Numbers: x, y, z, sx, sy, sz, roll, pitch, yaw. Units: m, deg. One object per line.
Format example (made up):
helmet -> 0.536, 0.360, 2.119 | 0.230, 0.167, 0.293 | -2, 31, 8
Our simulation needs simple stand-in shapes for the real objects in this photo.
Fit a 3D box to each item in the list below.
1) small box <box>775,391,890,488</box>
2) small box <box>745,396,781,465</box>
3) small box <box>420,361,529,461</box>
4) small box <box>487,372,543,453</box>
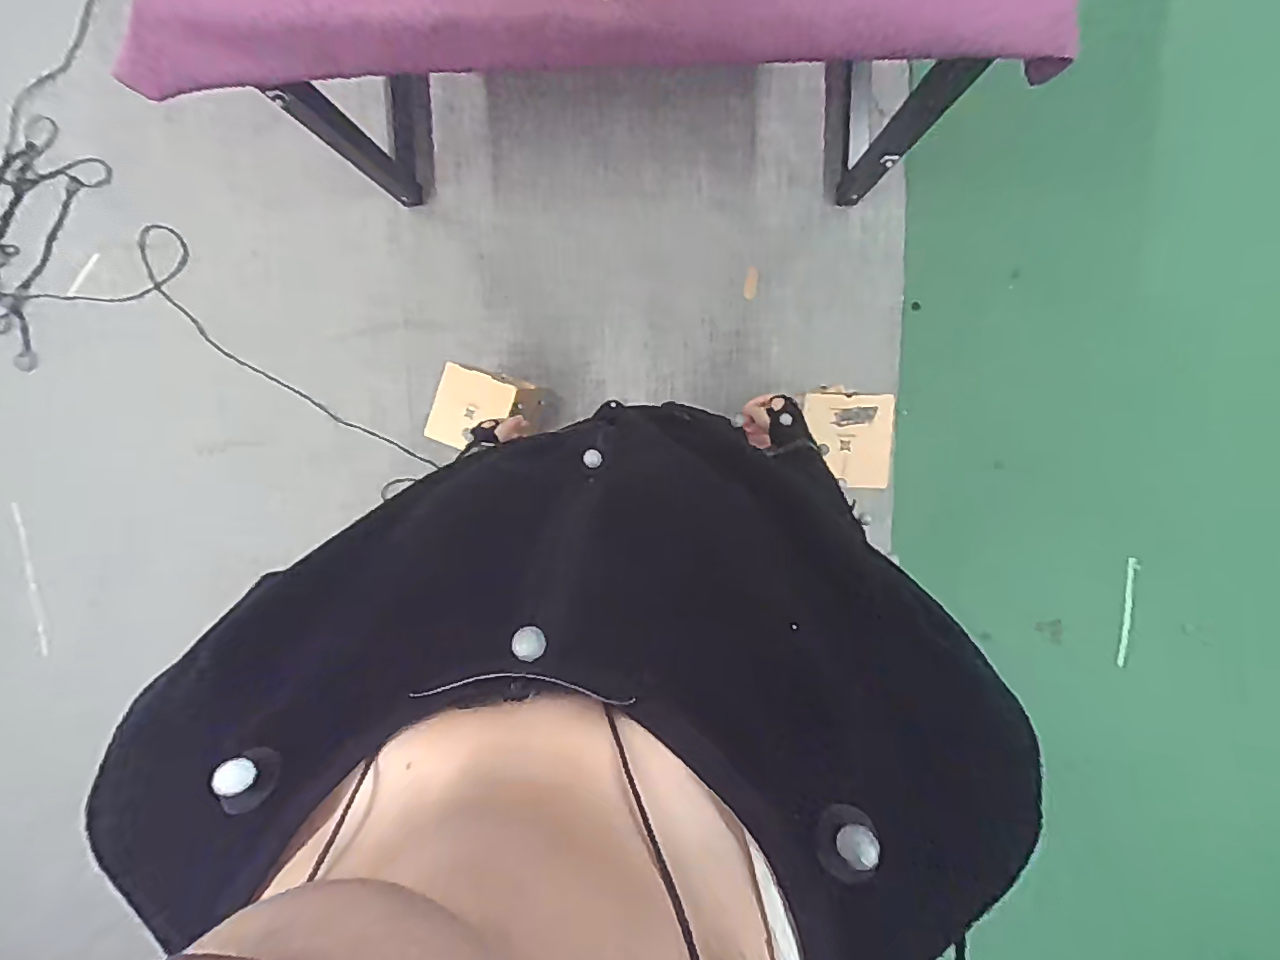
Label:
small box -> 0.372, -0.084, 1.074 | 0.168, 0.176, 0.179 | 1, 99, 0
small box -> 0.380, -0.120, 1.400 | 0.179, 0.176, 0.168 | 10, 98, 0
small box -> -0.373, -0.157, 1.250 | 0.168, 0.176, 0.179 | 21, 97, 0
small box -> -0.360, -0.180, 1.409 | 0.168, 0.176, 0.179 | 15, 98, 0
